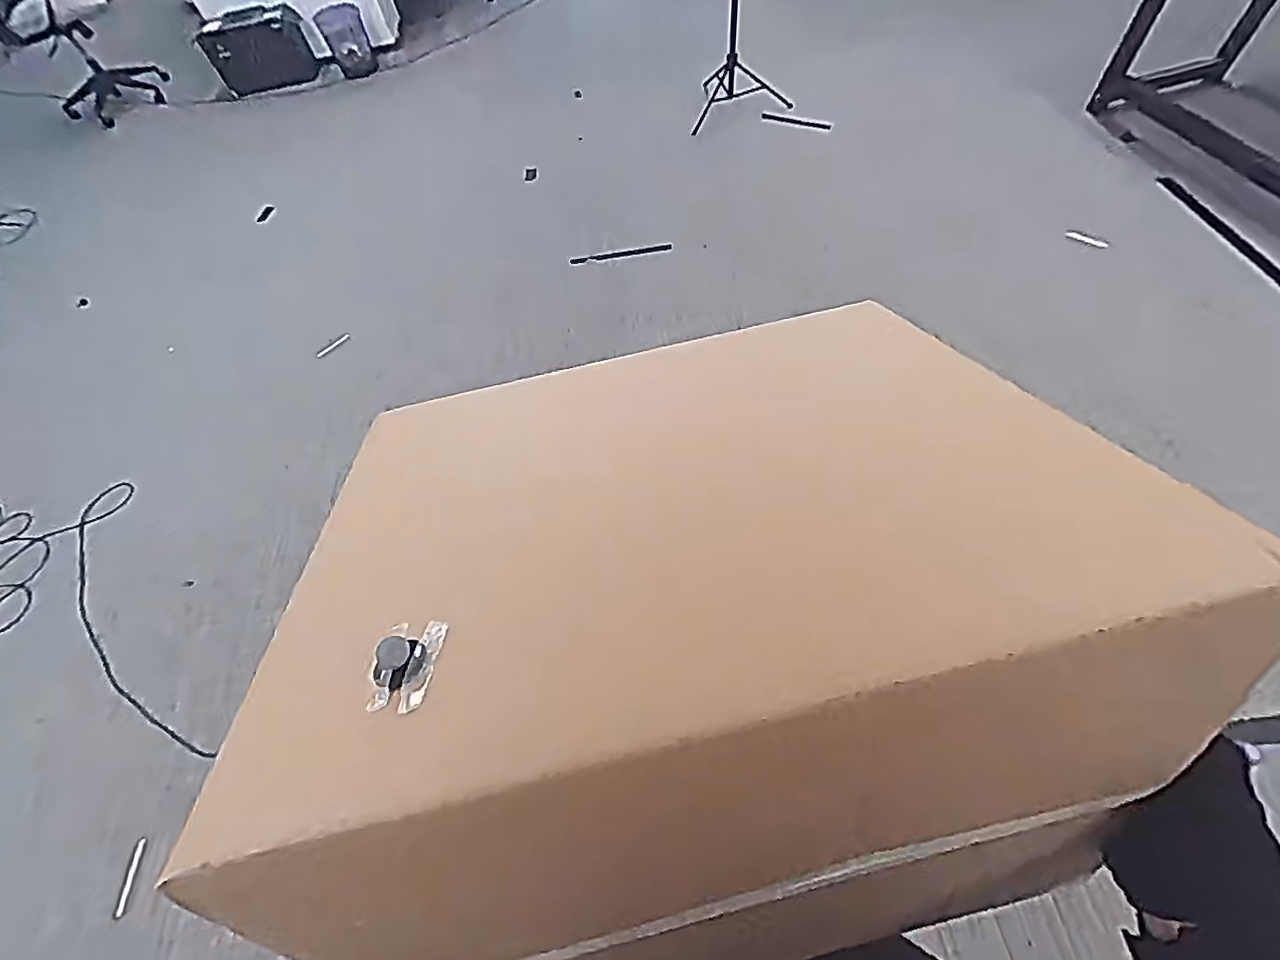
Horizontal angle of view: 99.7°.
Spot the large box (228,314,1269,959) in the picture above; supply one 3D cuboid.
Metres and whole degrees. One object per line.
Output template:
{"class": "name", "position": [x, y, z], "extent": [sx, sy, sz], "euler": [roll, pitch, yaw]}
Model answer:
{"class": "large box", "position": [0.044, 0.110, 0.402], "extent": [0.408, 0.320, 0.320], "euler": [-14, 37, -2]}
